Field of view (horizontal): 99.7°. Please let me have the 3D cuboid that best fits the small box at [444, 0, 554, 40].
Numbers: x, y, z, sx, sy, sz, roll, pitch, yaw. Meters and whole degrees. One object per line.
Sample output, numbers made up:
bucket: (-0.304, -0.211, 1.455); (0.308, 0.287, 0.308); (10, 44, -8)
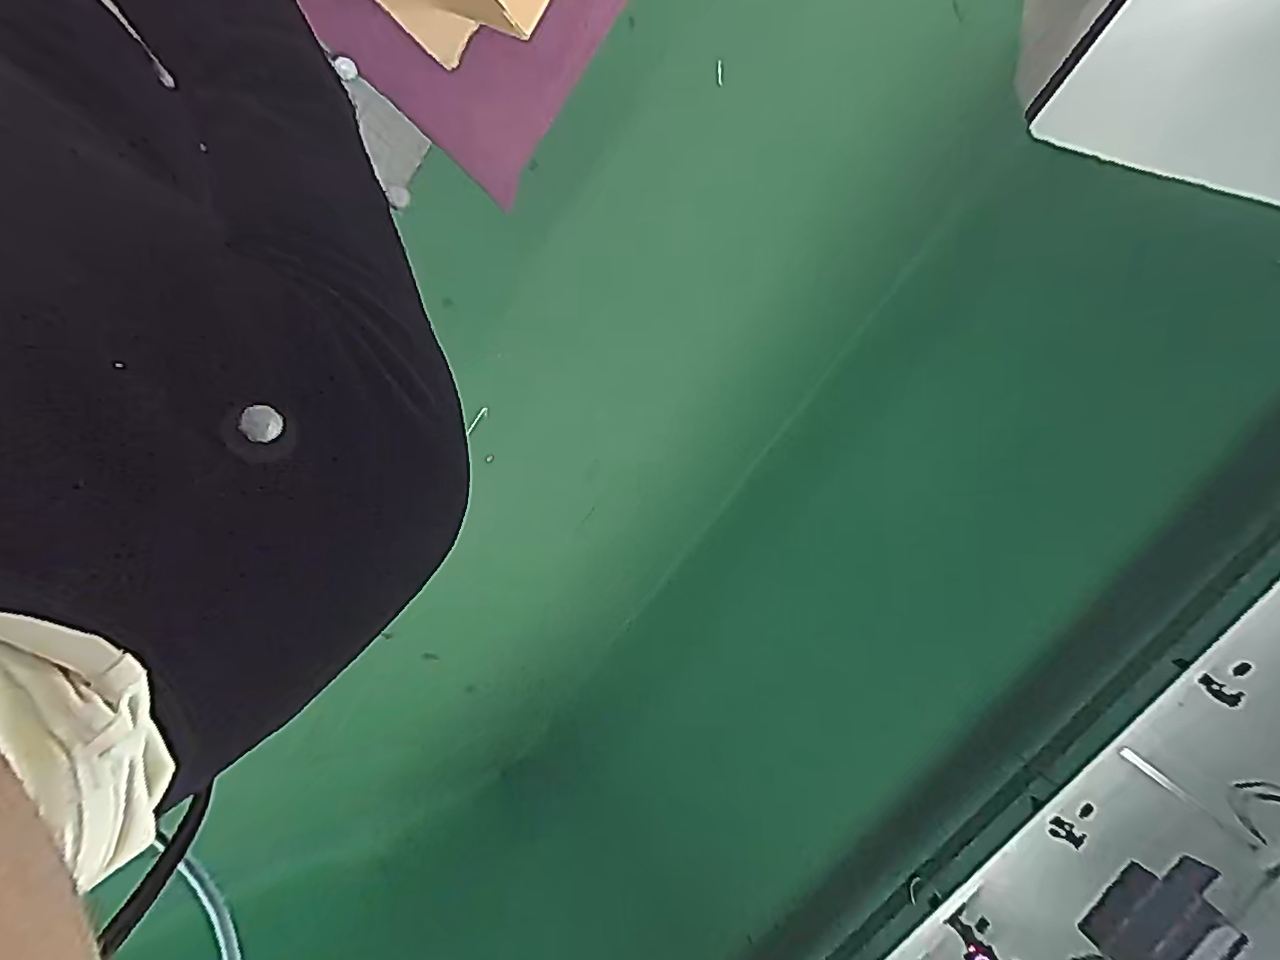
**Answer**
small box: (-0.145, -0.529, 0.444); (0.179, 0.176, 0.168); (-53, 153, 13)
